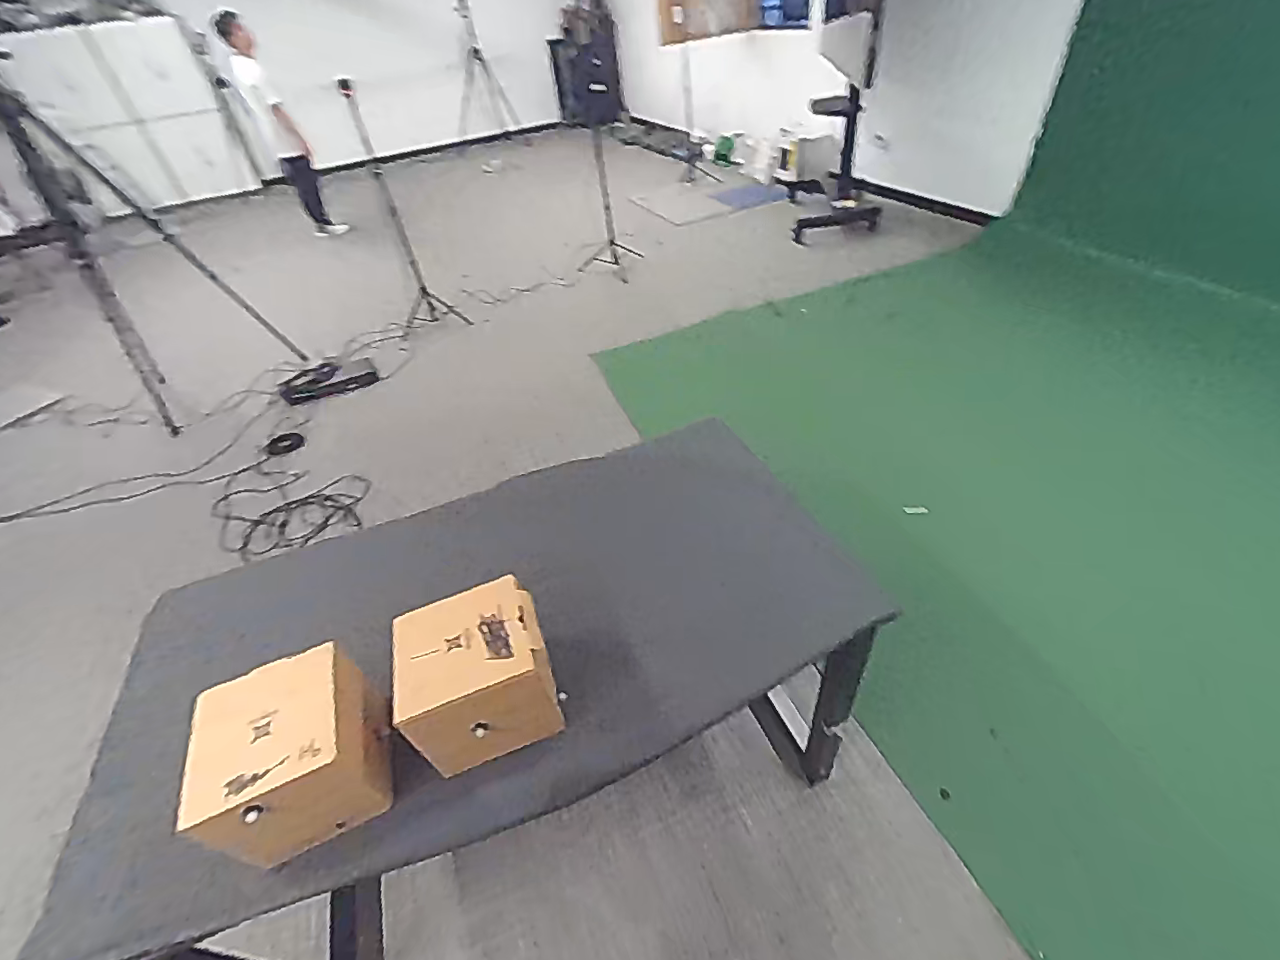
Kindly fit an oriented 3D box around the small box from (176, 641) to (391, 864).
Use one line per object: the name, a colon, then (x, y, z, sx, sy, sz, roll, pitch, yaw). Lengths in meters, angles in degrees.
small box: (-0.445, 0.354, 0.706, 0.168, 0.176, 0.179, -22, 43, -13)
